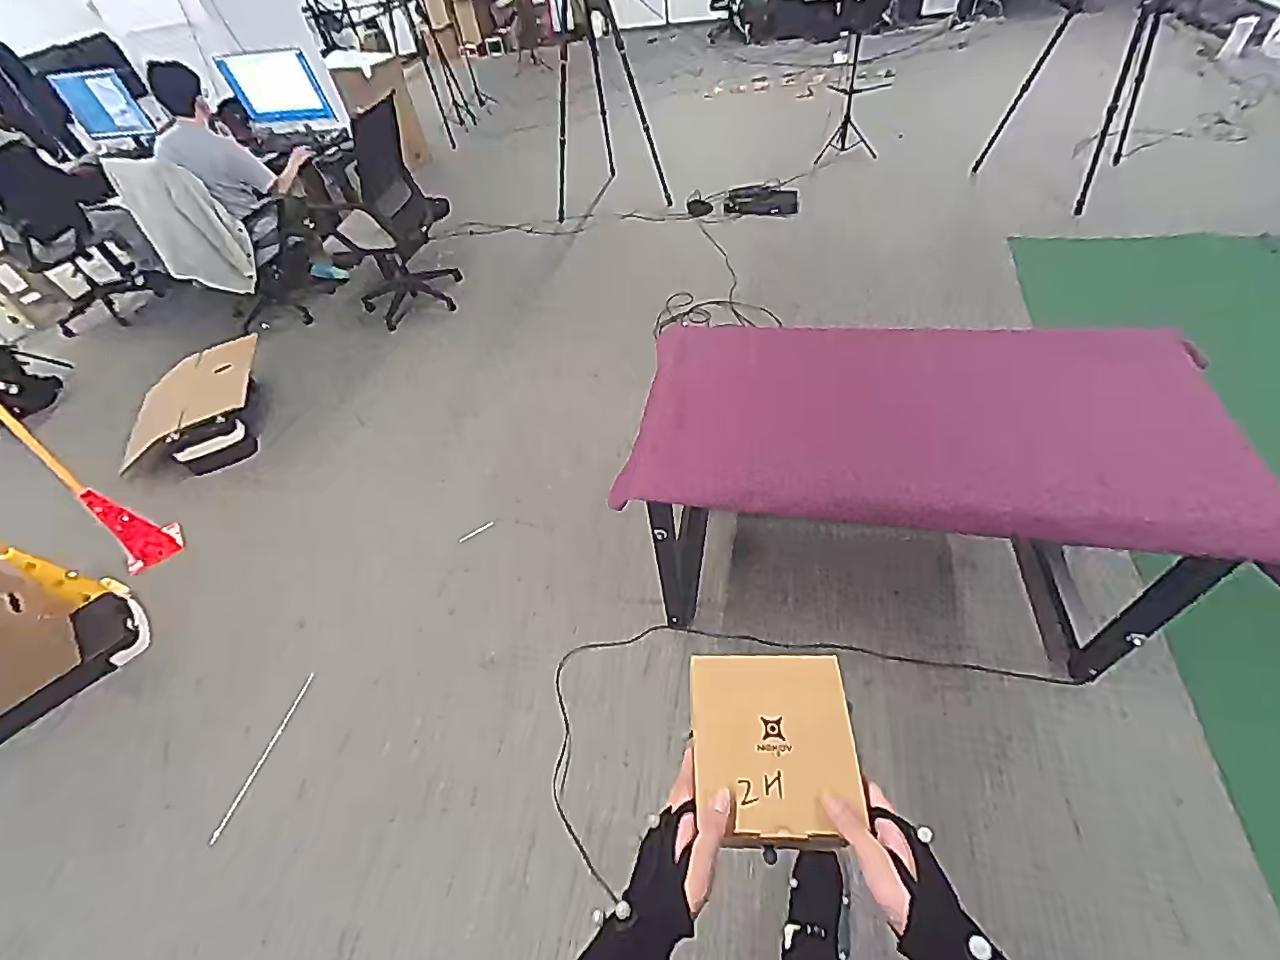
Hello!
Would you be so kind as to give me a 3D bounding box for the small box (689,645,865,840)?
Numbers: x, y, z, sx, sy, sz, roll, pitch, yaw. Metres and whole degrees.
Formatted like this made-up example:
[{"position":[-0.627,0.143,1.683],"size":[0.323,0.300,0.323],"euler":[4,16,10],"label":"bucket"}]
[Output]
[{"position":[0.142,0.307,0.631],"size":[0.168,0.176,0.179],"euler":[-1,54,5],"label":"small box"}]
